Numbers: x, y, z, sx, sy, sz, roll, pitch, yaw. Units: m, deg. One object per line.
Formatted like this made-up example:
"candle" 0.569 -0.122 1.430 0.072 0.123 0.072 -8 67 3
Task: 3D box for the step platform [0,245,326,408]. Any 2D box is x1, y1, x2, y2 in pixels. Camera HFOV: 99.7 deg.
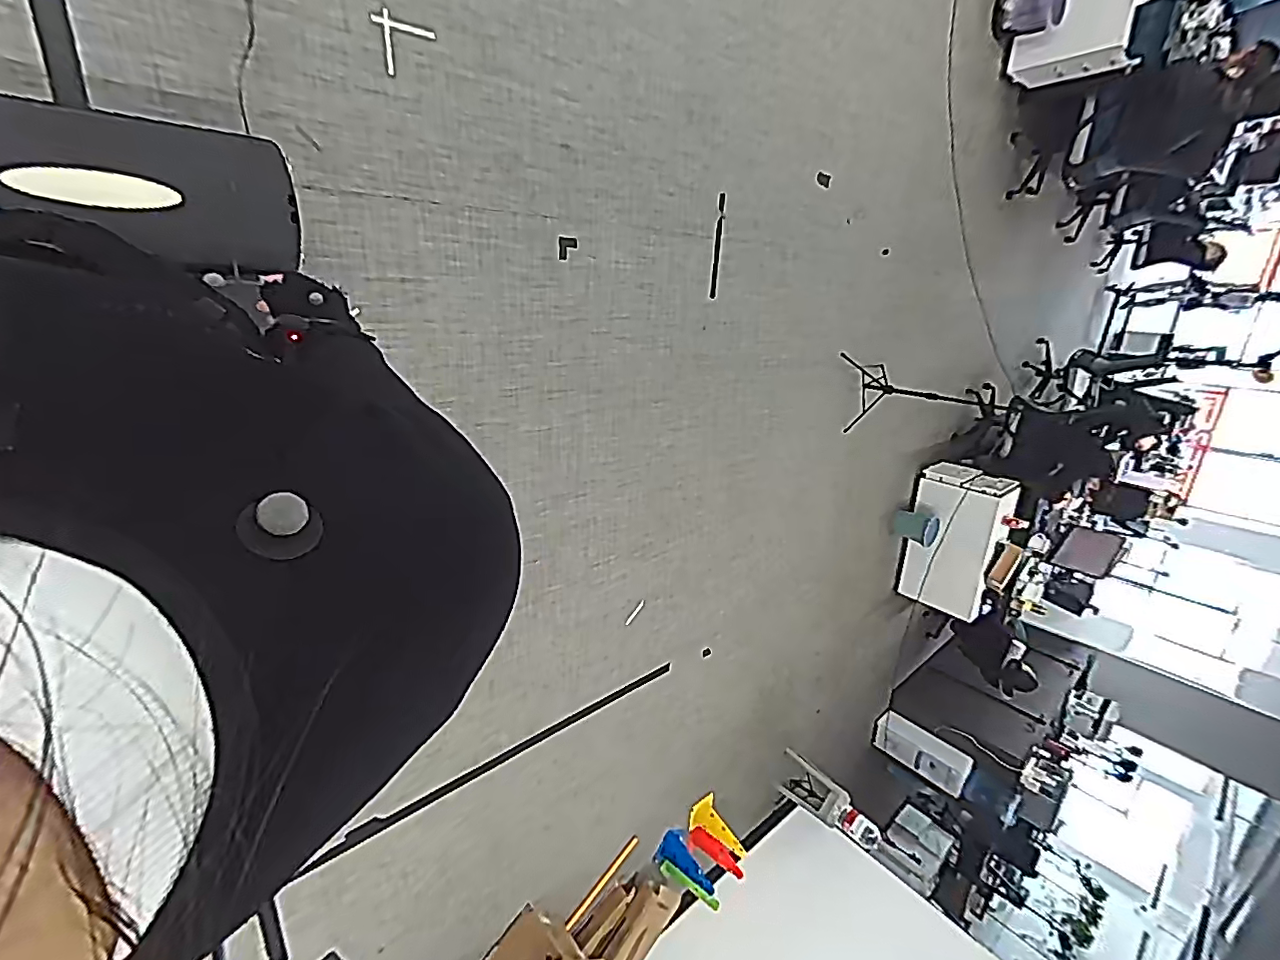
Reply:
"step platform" -1.041 -0.318 1.112 0.684 0.204 0.286 -14 114 -37
